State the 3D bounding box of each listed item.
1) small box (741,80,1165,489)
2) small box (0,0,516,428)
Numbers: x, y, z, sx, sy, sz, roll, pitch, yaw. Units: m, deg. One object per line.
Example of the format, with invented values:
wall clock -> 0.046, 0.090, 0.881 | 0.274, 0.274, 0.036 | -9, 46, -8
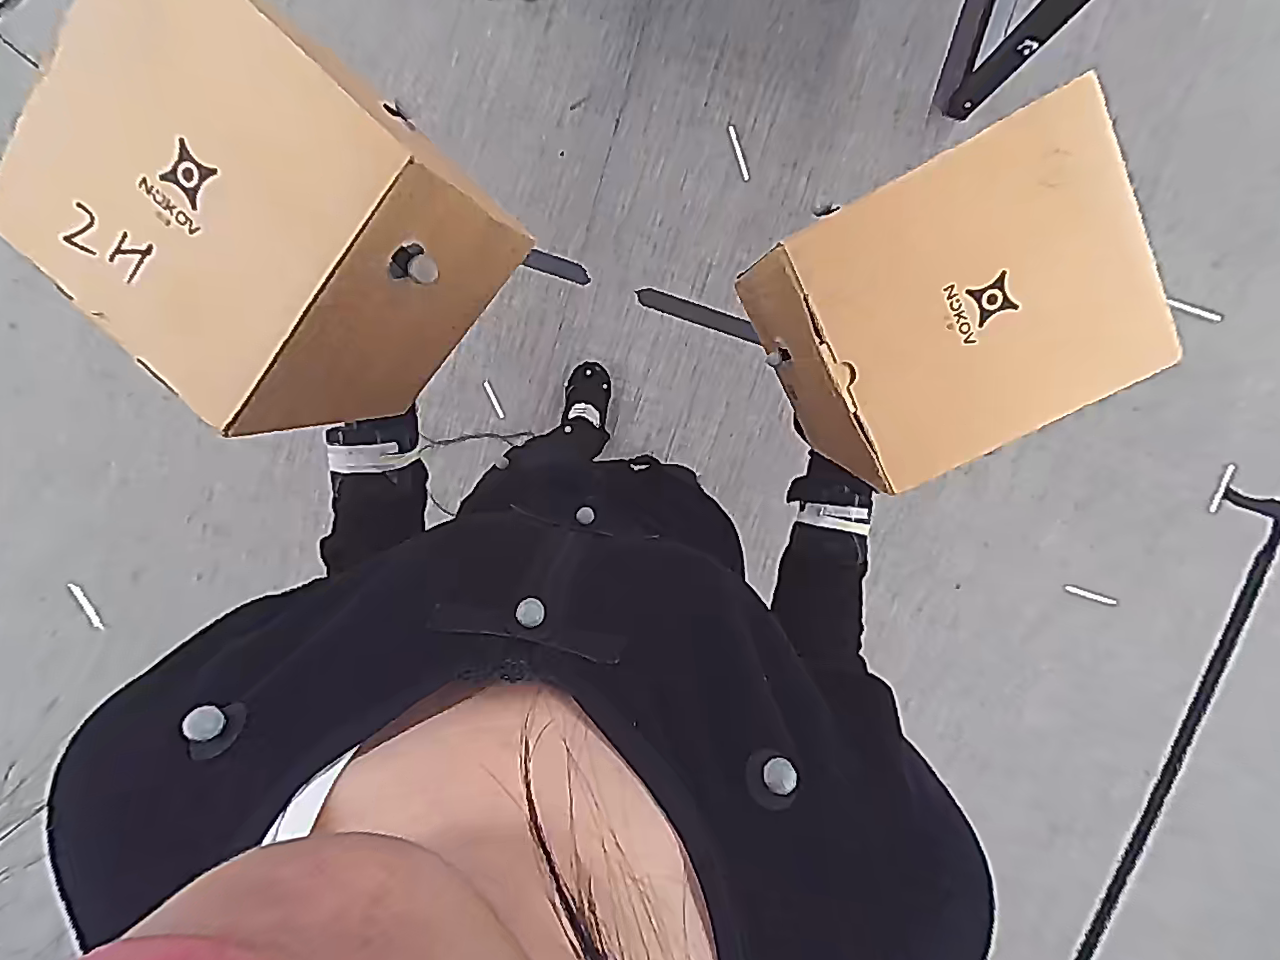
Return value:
small box -> 0.192, -0.122, 0.383 | 0.179, 0.176, 0.168 | -28, 102, 8
small box -> -0.200, -0.157, 0.335 | 0.168, 0.176, 0.179 | 43, 104, -1
